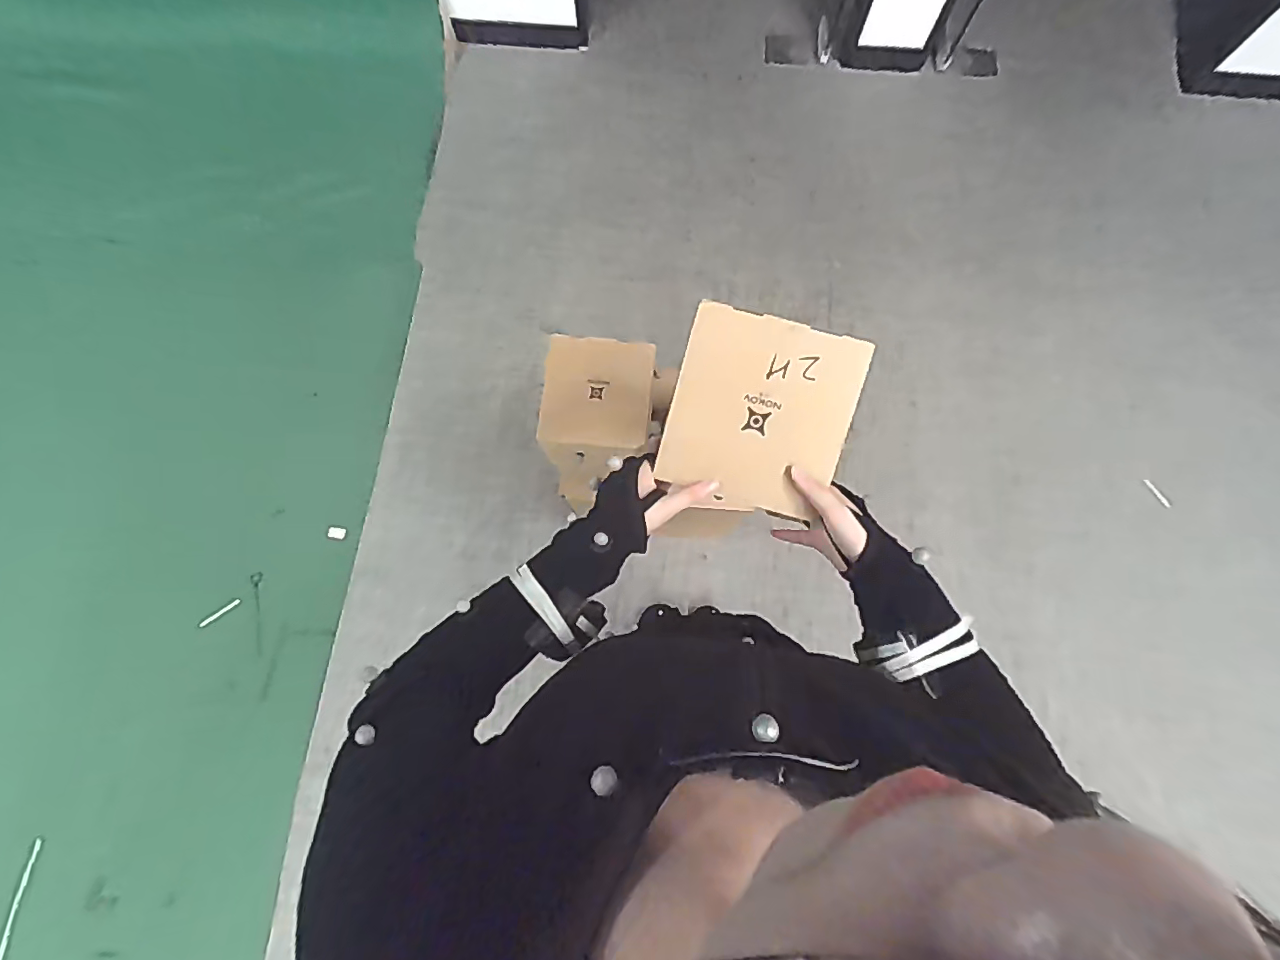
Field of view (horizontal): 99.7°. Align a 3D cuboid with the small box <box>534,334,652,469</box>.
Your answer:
[{"bbox_3d":[-0.071,-0.123,0.915,0.168,0.176,0.179,6,78,1],"label":"small box"}]

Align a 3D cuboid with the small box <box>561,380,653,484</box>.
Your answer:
[{"bbox_3d":[-0.068,-0.100,1.076,0.168,0.176,0.179,7,79,1],"label":"small box"}]

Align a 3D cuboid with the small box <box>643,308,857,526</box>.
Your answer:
[{"bbox_3d":[0.110,-0.070,0.597,0.168,0.176,0.179,16,99,2],"label":"small box"}]
